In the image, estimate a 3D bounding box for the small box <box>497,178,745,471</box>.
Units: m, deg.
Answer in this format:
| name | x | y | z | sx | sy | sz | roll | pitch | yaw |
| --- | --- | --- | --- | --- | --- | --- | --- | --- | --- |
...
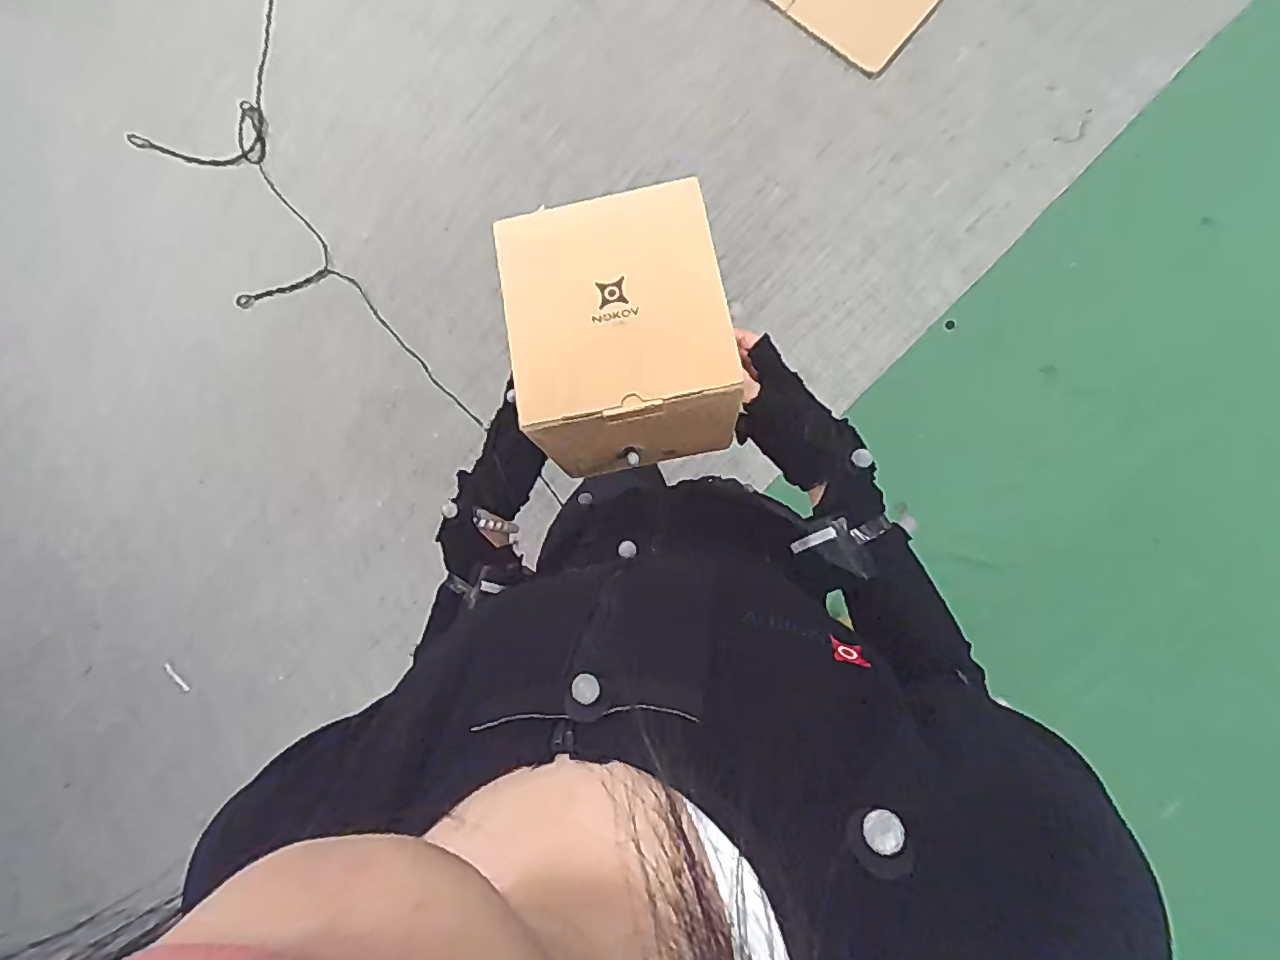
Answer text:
| name | x | y | z | sx | sy | sz | roll | pitch | yaw |
| --- | --- | --- | --- | --- | --- | --- | --- | --- | --- |
| small box | -0.013 | -0.121 | 0.481 | 0.168 | 0.176 | 0.179 | -11 | 78 | 3 |
